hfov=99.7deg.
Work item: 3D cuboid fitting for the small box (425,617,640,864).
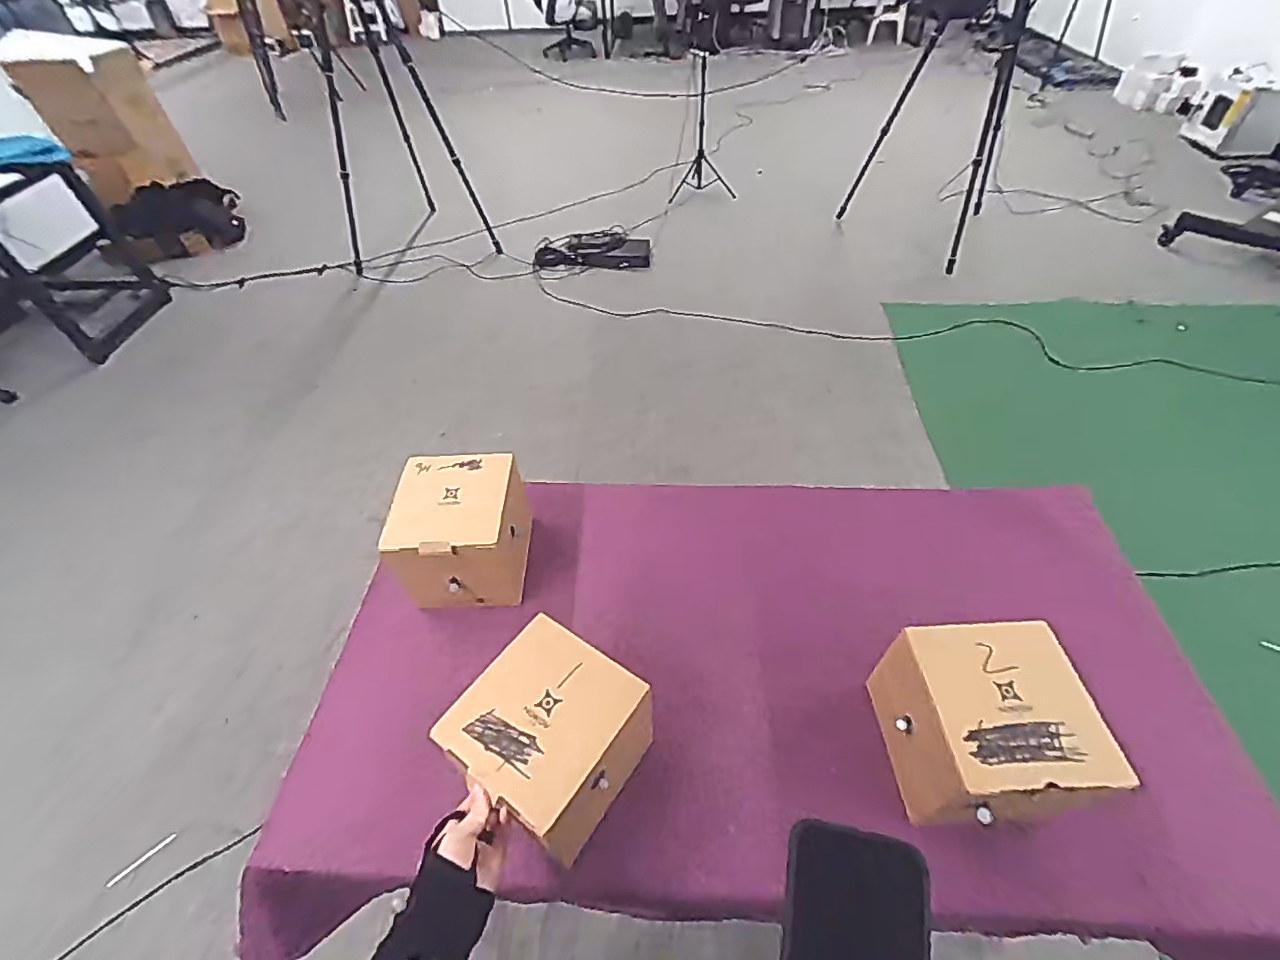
[{"bbox_3d":[-0.109,0.304,0.634,0.168,0.176,0.179,25,51,25],"label":"small box"}]

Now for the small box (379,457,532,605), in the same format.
[{"bbox_3d":[-0.271,0.085,0.844,0.168,0.176,0.179,-2,49,0],"label":"small box"}]
